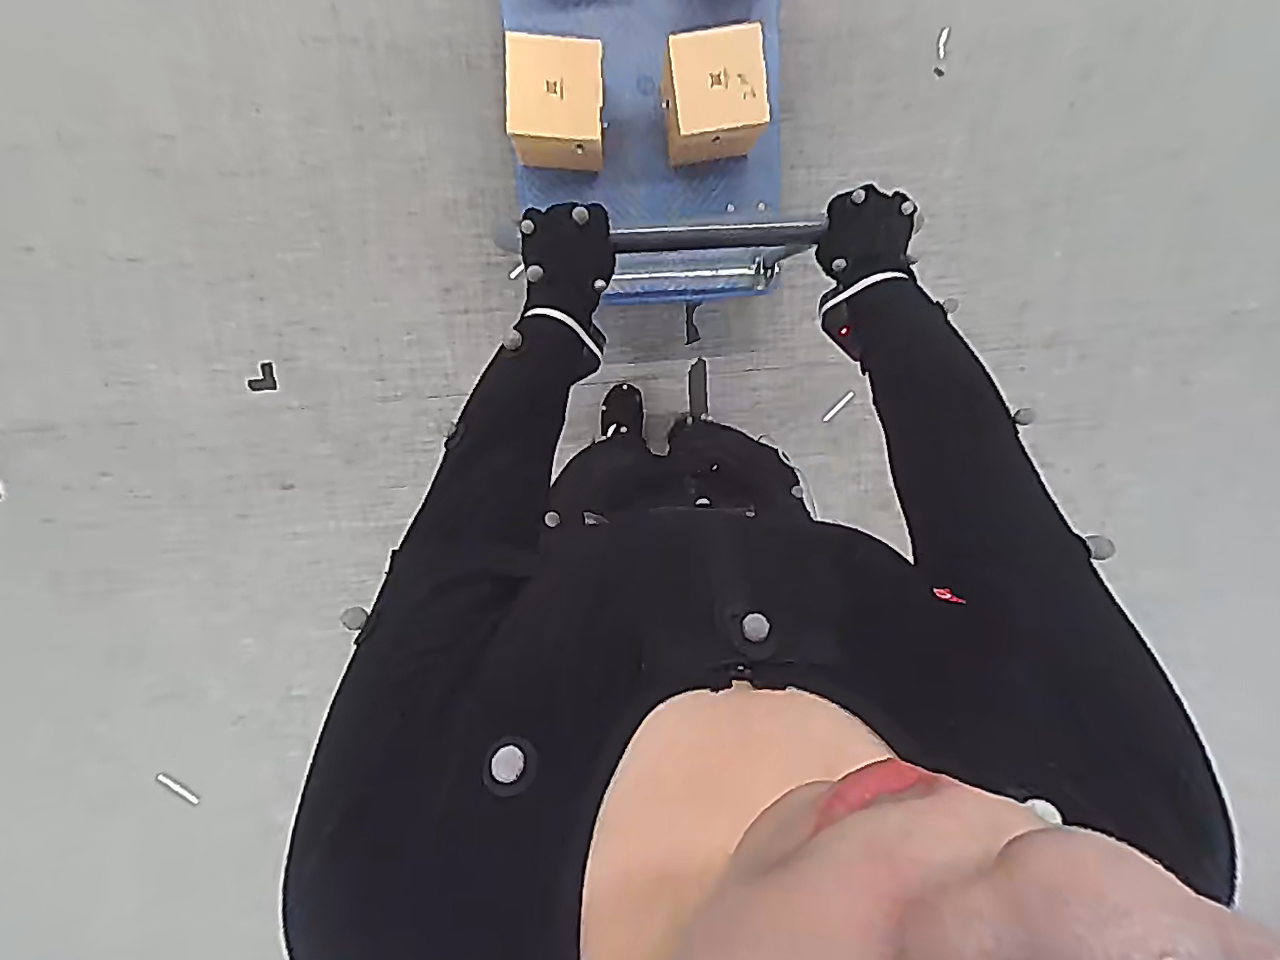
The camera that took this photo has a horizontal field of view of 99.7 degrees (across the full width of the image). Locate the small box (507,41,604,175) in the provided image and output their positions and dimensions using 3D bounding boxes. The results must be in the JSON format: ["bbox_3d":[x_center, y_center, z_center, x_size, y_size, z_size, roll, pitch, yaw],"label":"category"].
[{"bbox_3d":[-0.162,-0.726,1.075,0.179,0.176,0.168,1,102,-6],"label":"small box"}]

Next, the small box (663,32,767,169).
[{"bbox_3d":[0.143,-0.751,1.089,0.179,0.176,0.168,-9,103,-1],"label":"small box"}]
